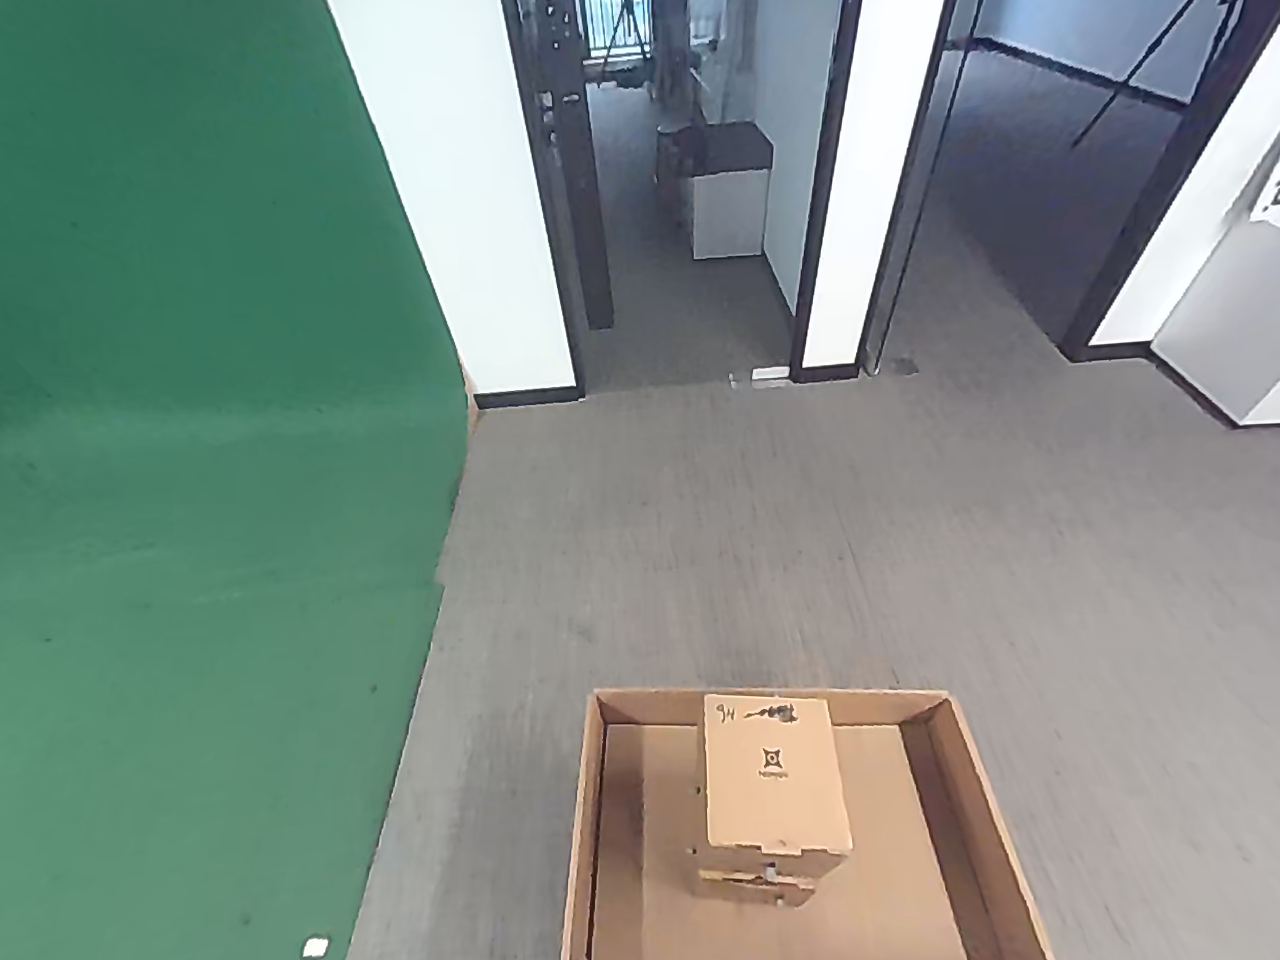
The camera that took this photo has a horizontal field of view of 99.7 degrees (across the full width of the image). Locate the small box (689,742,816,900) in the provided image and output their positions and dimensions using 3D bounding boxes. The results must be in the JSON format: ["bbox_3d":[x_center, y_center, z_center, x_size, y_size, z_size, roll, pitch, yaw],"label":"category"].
[{"bbox_3d":[0.163,0.527,0.838,0.168,0.176,0.179,2,44,3],"label":"small box"}]

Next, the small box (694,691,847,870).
[{"bbox_3d":[0.161,0.406,0.727,0.168,0.176,0.179,2,47,3],"label":"small box"}]
